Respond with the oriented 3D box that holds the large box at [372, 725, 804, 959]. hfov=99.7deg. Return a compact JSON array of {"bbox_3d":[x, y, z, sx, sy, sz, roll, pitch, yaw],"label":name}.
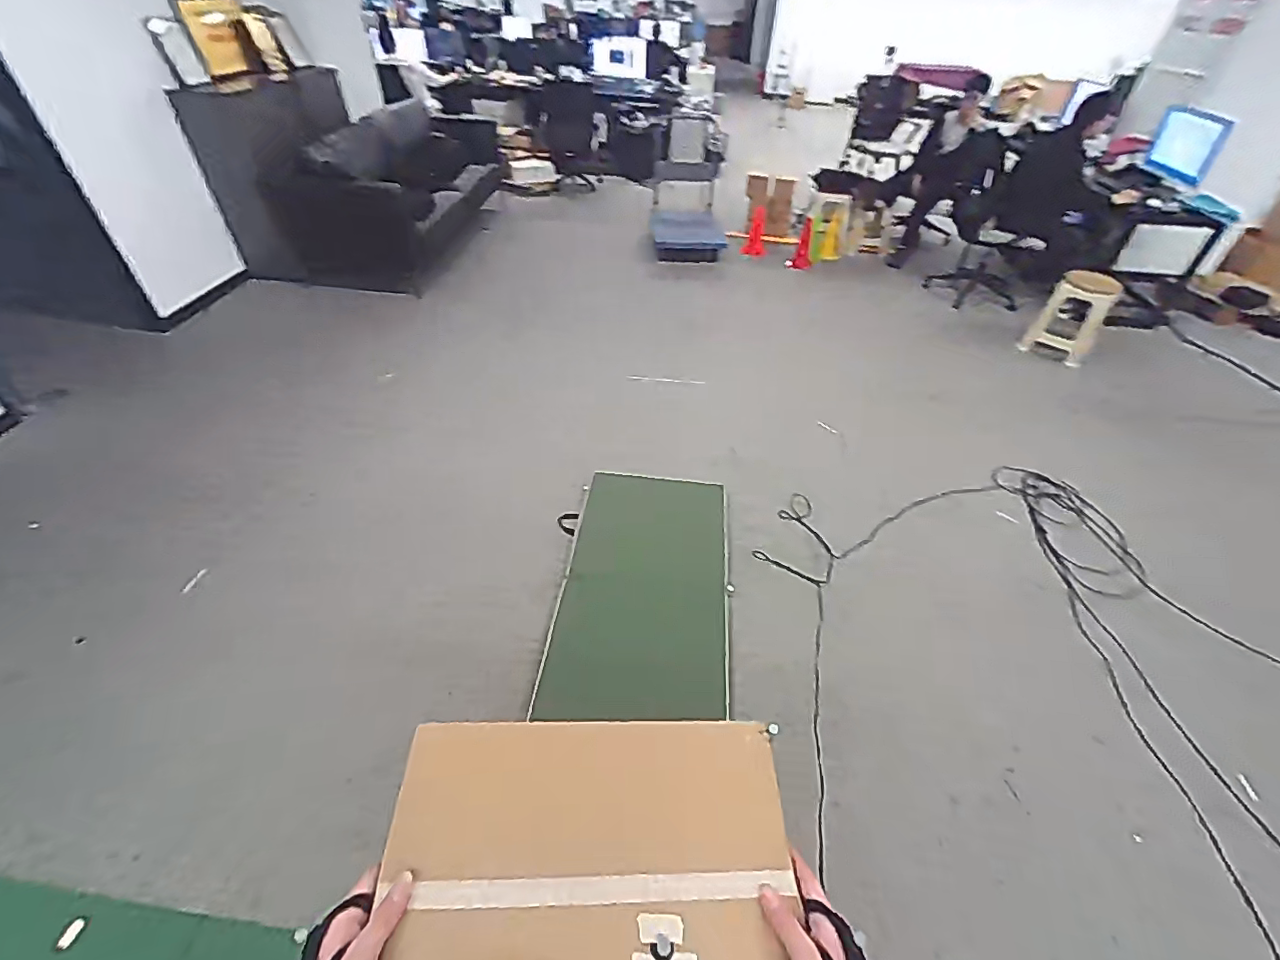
[{"bbox_3d":[-0.057,0.505,0.637,0.408,0.320,0.320,2,47,-4],"label":"large box"}]
